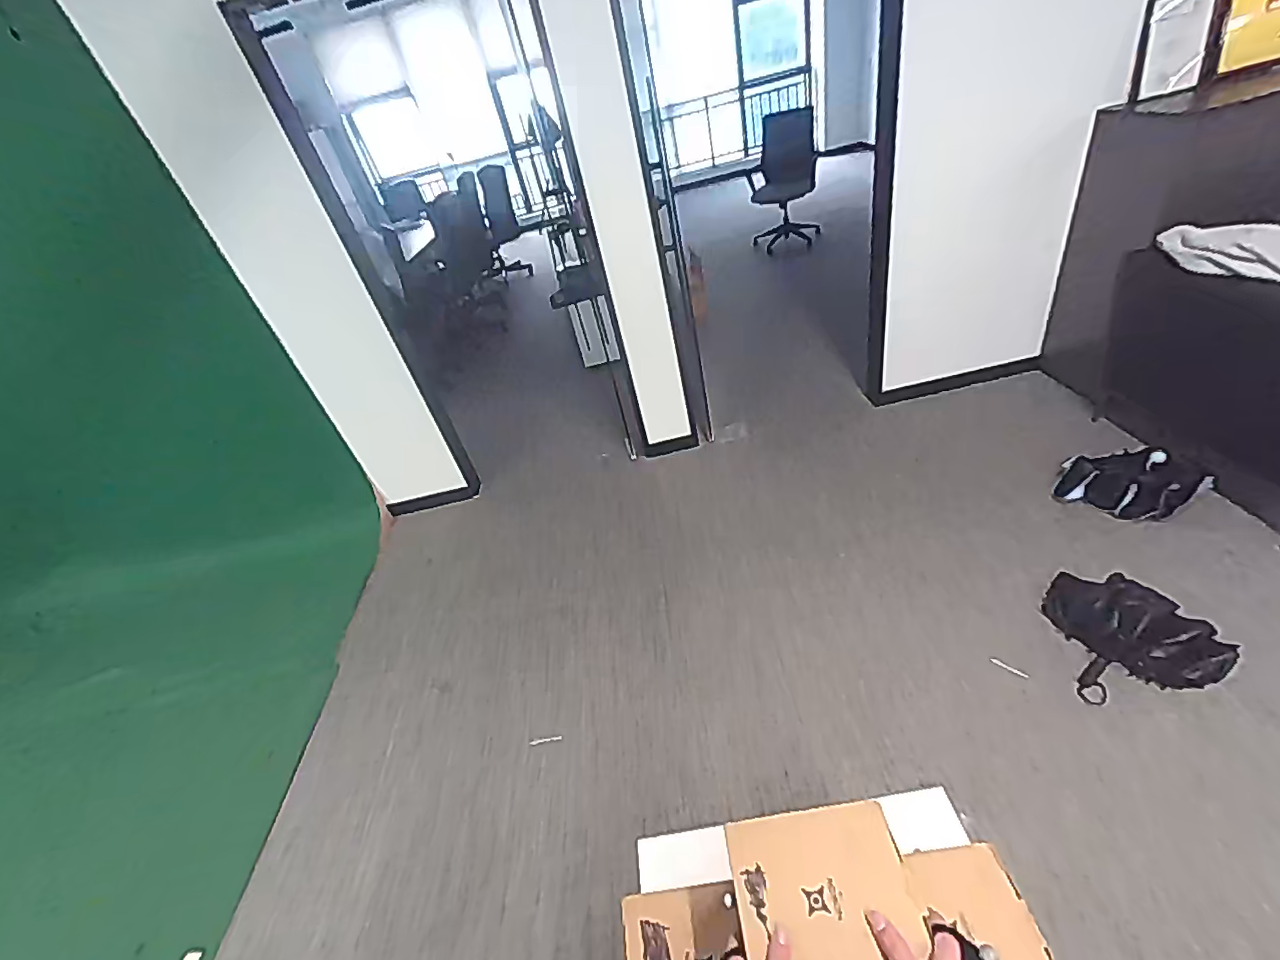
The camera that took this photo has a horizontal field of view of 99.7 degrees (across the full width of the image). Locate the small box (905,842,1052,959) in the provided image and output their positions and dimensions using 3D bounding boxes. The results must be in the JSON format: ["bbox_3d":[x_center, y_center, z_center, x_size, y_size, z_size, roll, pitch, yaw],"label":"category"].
[{"bbox_3d":[0.375,0.577,0.665,0.179,0.176,0.168,-12,37,5],"label":"small box"}]

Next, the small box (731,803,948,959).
[{"bbox_3d":[0.201,0.477,0.578,0.179,0.176,0.168,-10,37,3],"label":"small box"}]

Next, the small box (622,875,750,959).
[{"bbox_3d":[0.081,0.631,0.681,0.179,0.176,0.168,-10,37,1],"label":"small box"}]
